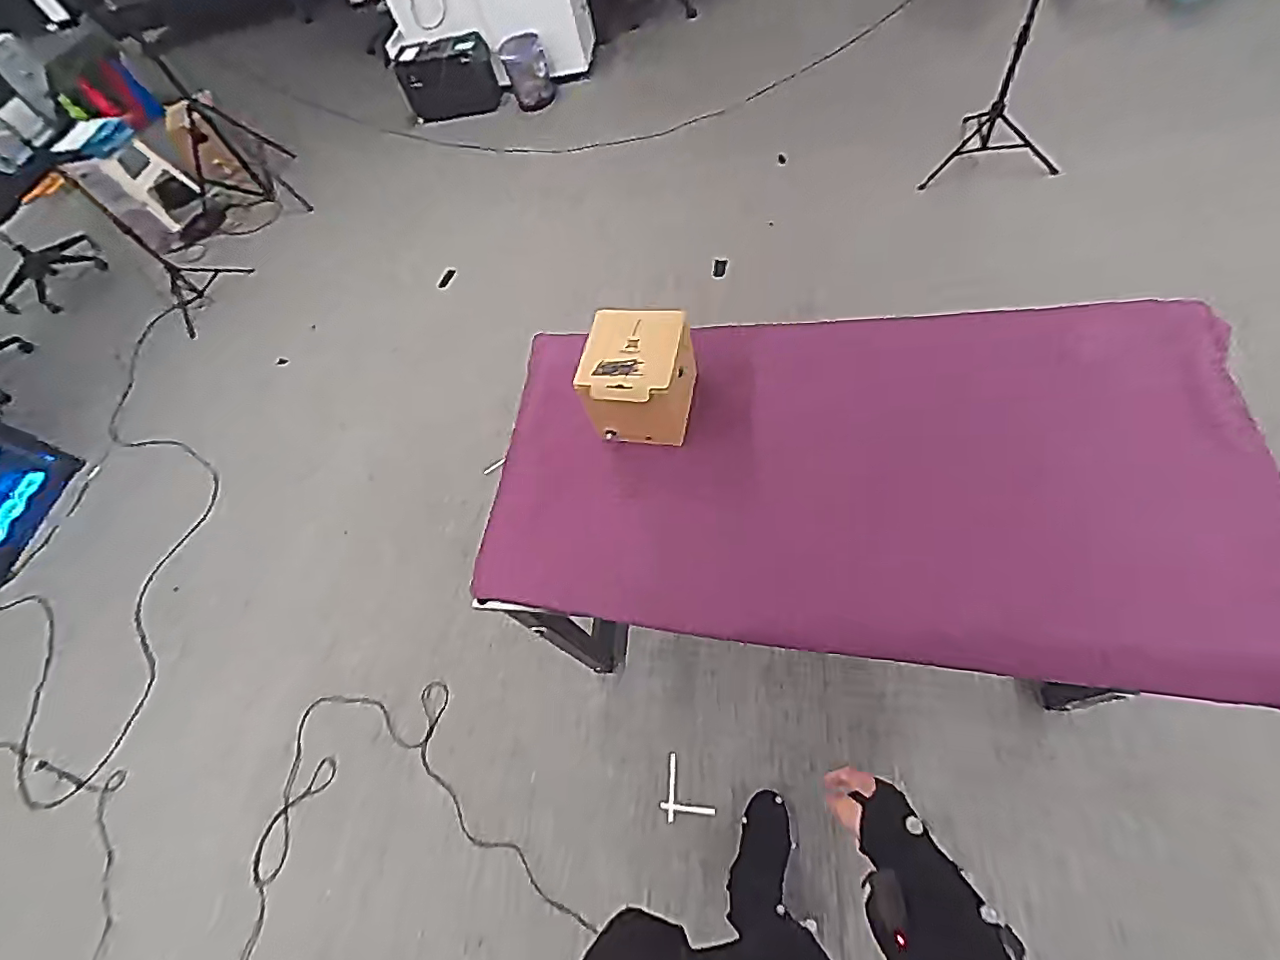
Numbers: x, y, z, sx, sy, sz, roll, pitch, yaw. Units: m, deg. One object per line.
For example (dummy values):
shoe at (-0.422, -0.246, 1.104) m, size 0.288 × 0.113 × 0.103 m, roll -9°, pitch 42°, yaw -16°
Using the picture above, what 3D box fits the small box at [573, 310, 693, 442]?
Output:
small box at (-0.002, -0.184, 0.978) m, size 0.168 × 0.176 × 0.179 m, roll 5°, pitch 63°, yaw 15°
